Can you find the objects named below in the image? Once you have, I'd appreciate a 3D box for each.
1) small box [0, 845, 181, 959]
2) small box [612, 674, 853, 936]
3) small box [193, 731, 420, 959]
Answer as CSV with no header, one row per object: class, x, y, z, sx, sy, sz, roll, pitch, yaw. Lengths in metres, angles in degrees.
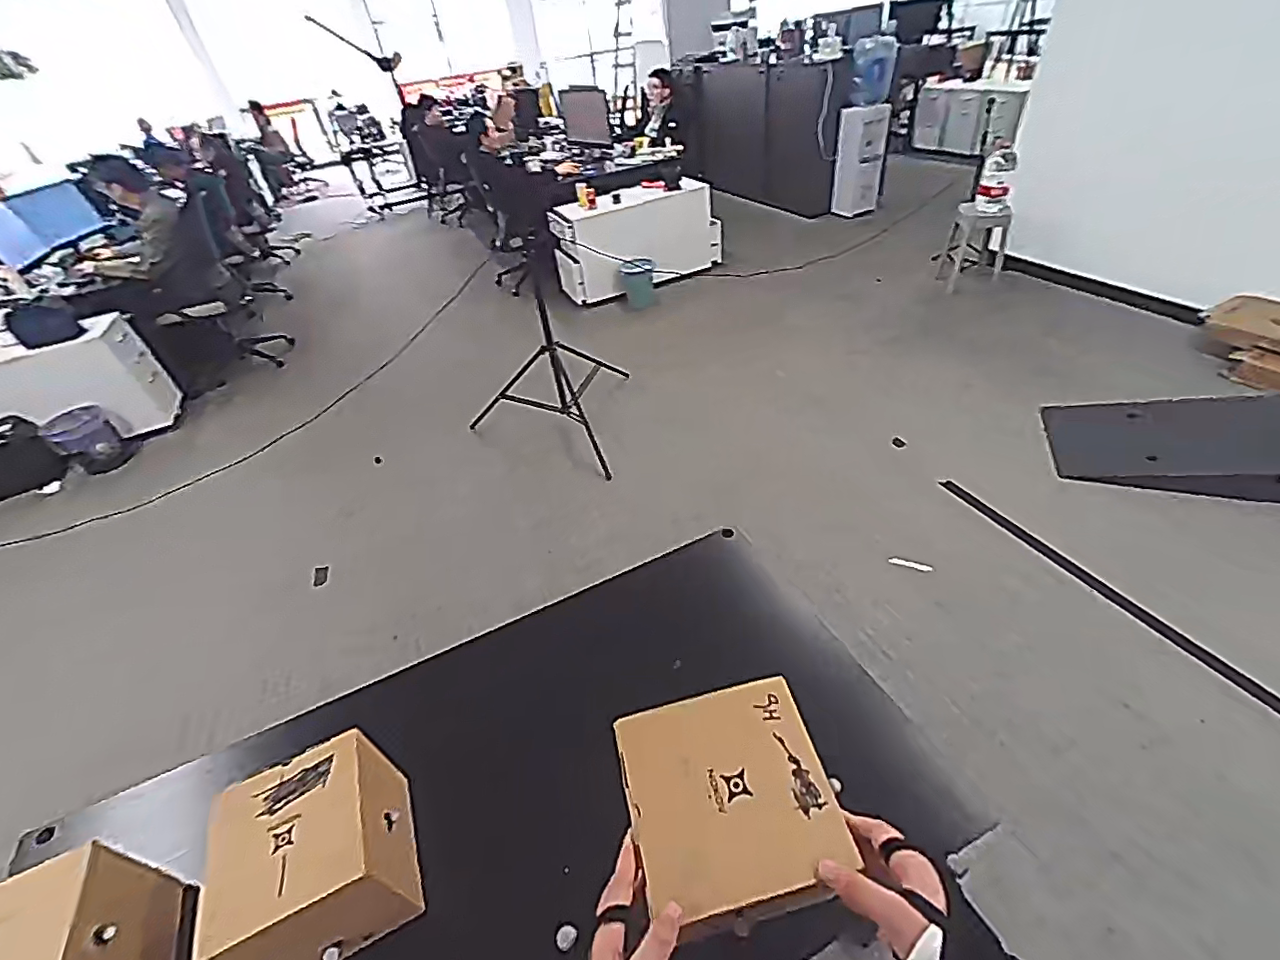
small box,-0.646,0.550,0.583,0.168,0.176,0.179,-22,41,-17
small box,0.082,0.325,0.538,0.179,0.176,0.168,-13,46,-5
small box,-0.385,0.452,0.652,0.168,0.176,0.179,-22,43,-16
